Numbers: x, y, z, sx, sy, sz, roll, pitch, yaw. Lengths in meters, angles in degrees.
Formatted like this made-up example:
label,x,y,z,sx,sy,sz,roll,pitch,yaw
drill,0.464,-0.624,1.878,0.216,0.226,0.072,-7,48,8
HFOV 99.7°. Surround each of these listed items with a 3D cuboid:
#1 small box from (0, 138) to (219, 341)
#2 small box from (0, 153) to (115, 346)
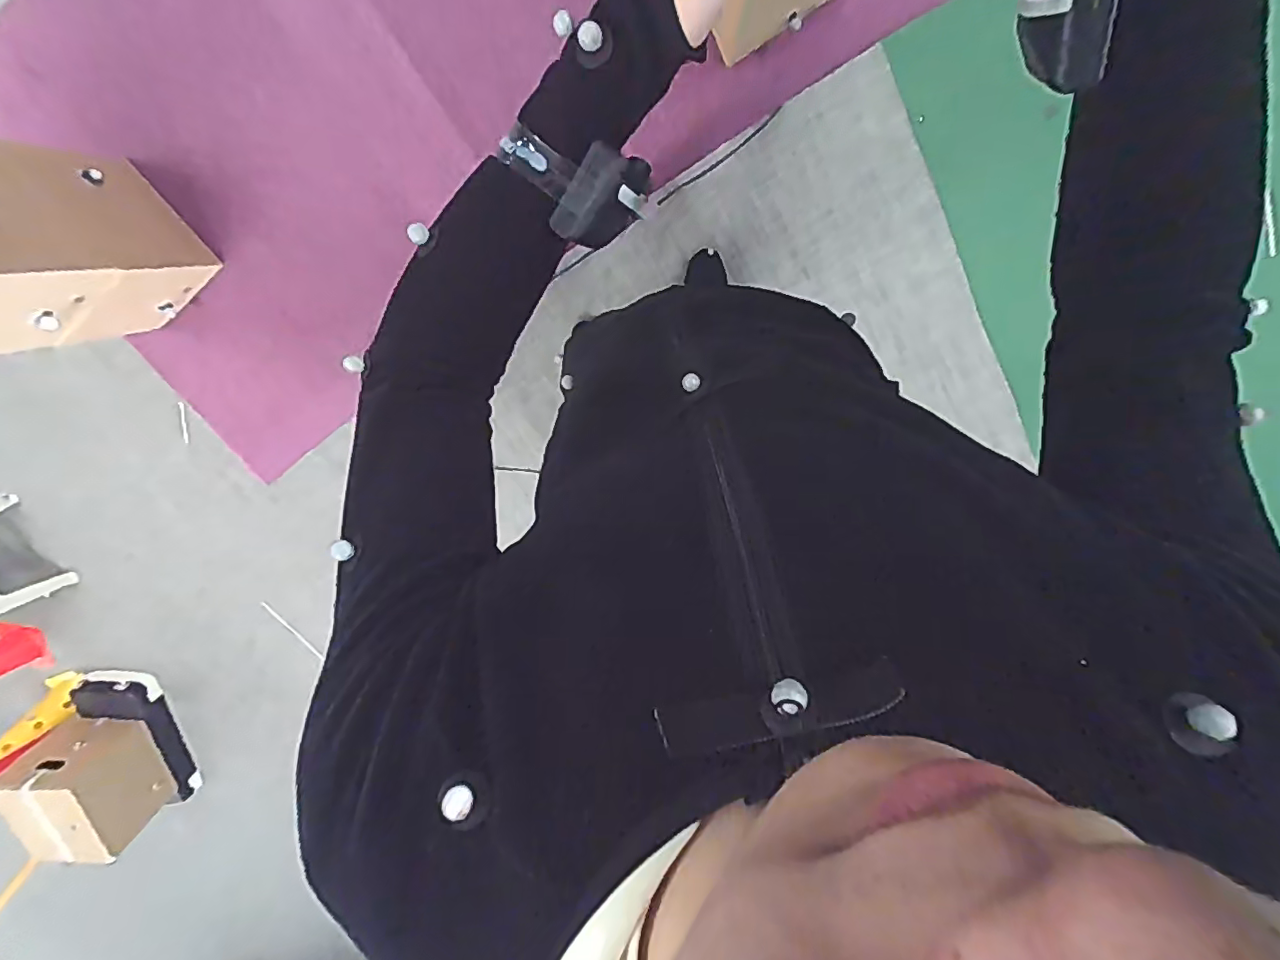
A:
label,x,y,z,sx,sy,sz,roll,pitch,yaw
small box,-0.745,-0.317,0.735,0.168,0.176,0.179,-31,109,17
small box,-0.756,-0.253,0.585,0.168,0.176,0.179,-32,108,17
